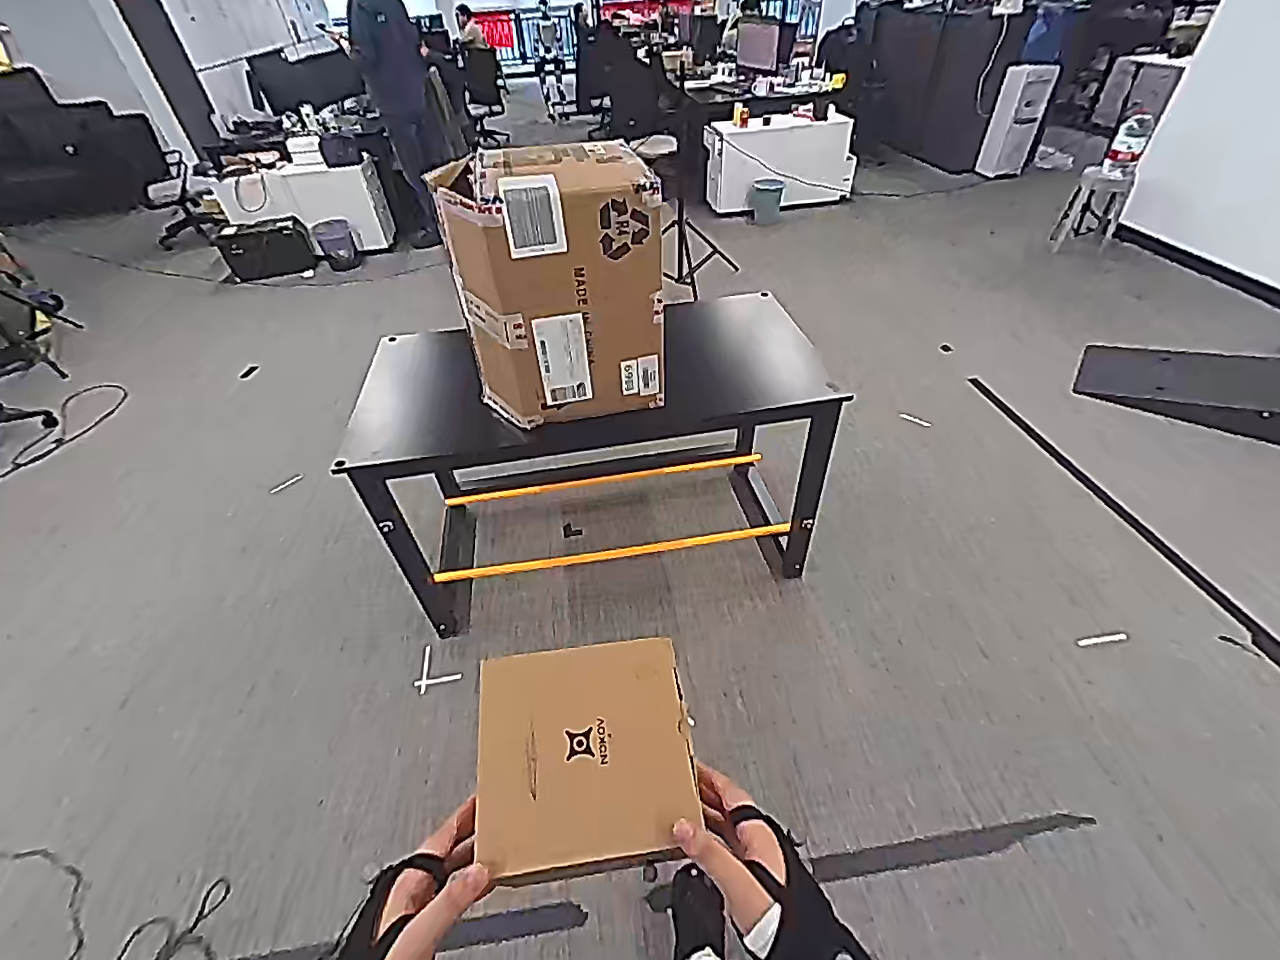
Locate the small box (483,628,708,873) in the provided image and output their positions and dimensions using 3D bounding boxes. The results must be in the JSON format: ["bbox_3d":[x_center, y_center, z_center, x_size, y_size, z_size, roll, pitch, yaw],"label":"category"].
[{"bbox_3d":[-0.044,0.263,0.523,0.179,0.176,0.168,-7,51,-6],"label":"small box"}]
